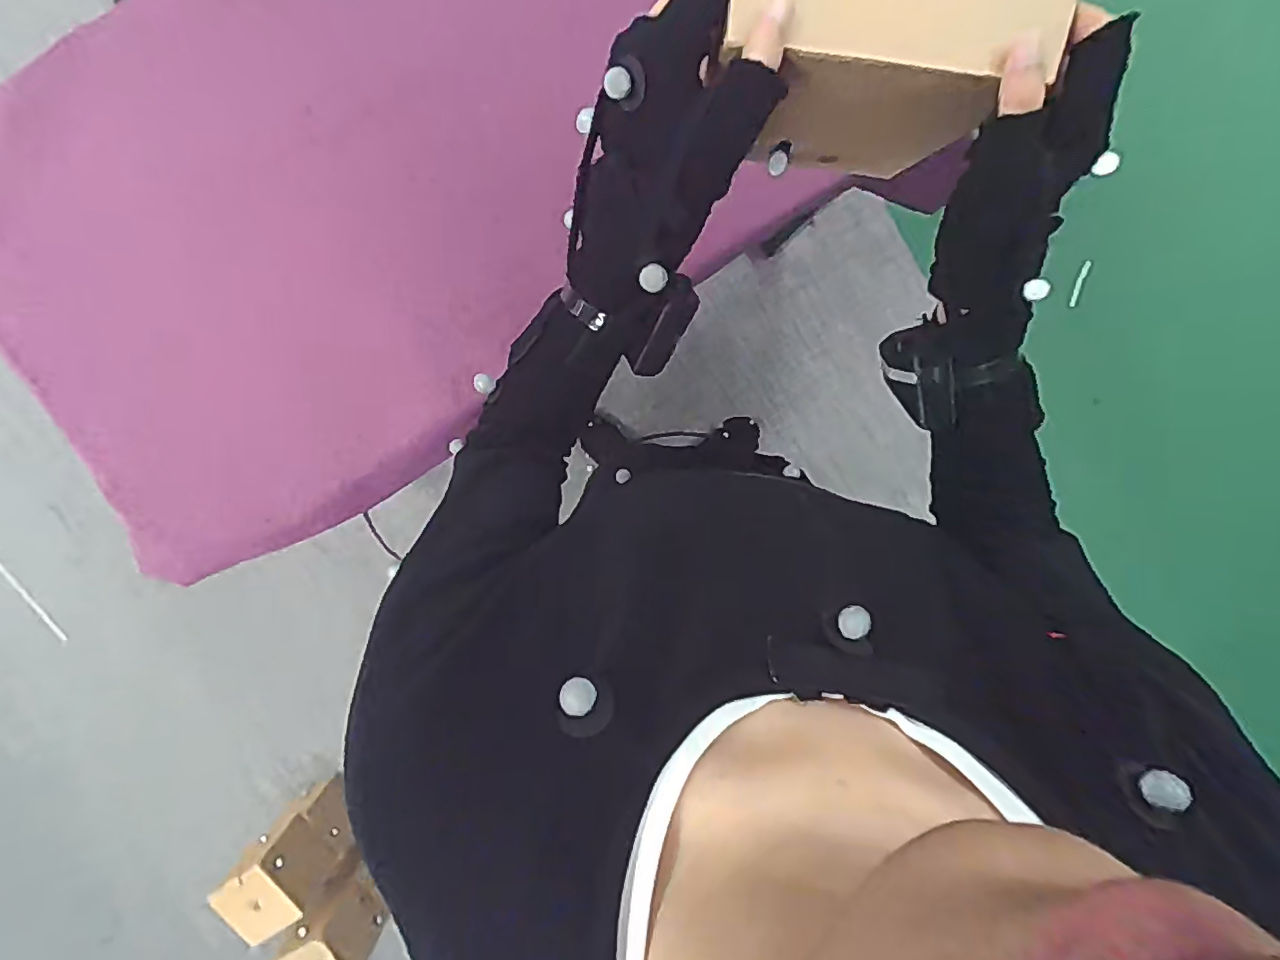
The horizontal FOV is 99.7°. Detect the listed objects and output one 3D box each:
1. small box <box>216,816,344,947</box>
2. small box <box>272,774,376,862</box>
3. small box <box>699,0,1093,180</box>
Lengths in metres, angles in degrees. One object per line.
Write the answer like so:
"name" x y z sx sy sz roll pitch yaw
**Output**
"small box" -0.905 1.016 1.380 0.168 0.176 0.179 -35 98 4
"small box" -0.900 0.992 1.542 0.179 0.176 0.168 -34 99 5
"small box" 0.133 -0.301 0.314 0.168 0.176 0.179 5 105 -3
